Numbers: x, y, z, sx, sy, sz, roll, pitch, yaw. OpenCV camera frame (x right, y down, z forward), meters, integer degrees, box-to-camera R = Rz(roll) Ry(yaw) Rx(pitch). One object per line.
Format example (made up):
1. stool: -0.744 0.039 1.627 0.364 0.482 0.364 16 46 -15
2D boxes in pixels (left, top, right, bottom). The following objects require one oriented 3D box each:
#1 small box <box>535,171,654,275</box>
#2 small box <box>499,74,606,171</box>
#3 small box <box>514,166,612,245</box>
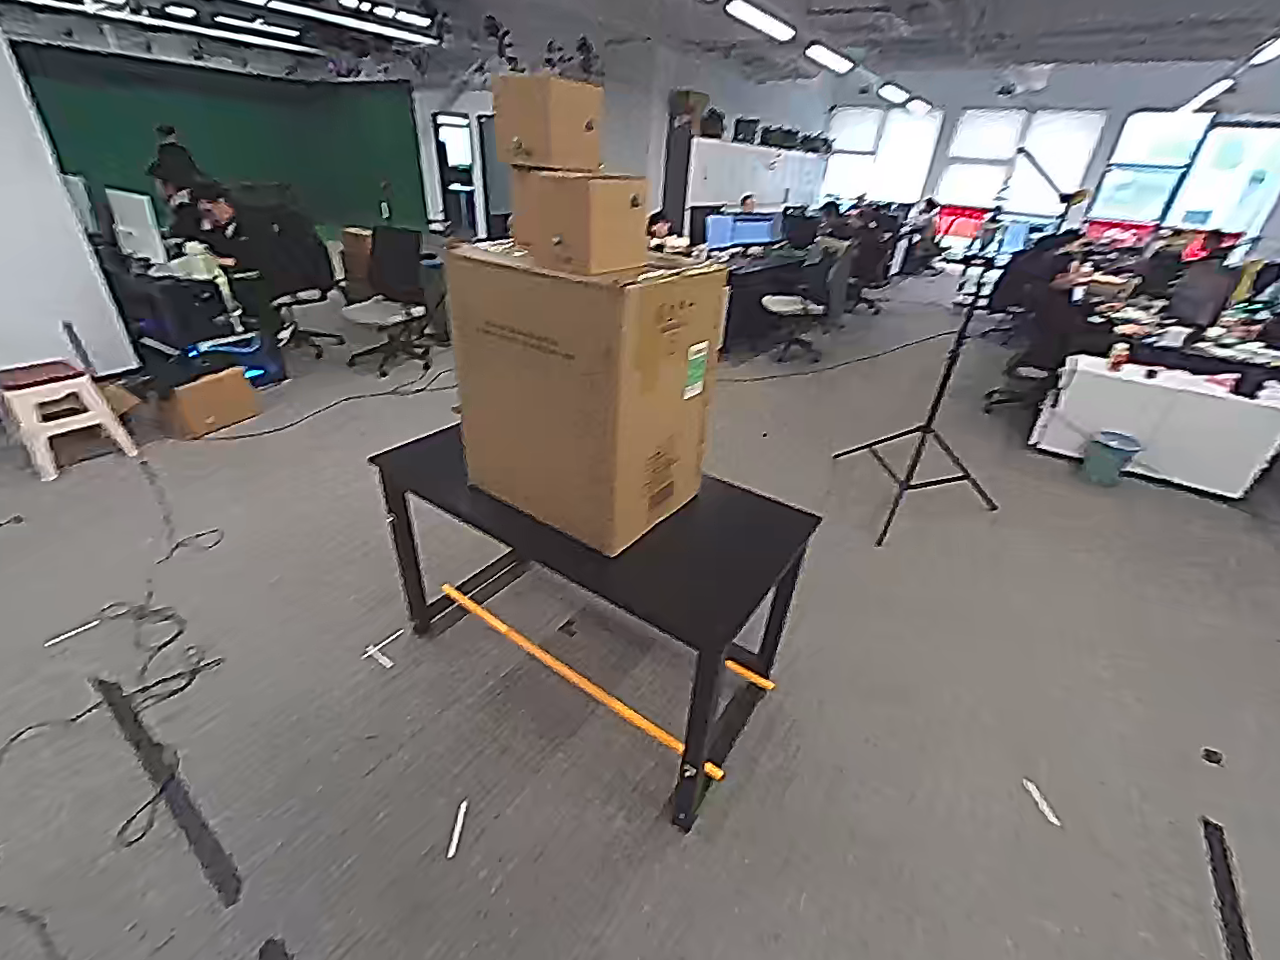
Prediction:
1. small box: -0.091 -0.519 1.089 0.168 0.176 0.179 23 36 31
2. small box: -0.194 -0.792 1.211 0.168 0.176 0.179 21 34 26
3. small box: -0.183 -0.664 1.317 0.168 0.176 0.179 24 36 28
